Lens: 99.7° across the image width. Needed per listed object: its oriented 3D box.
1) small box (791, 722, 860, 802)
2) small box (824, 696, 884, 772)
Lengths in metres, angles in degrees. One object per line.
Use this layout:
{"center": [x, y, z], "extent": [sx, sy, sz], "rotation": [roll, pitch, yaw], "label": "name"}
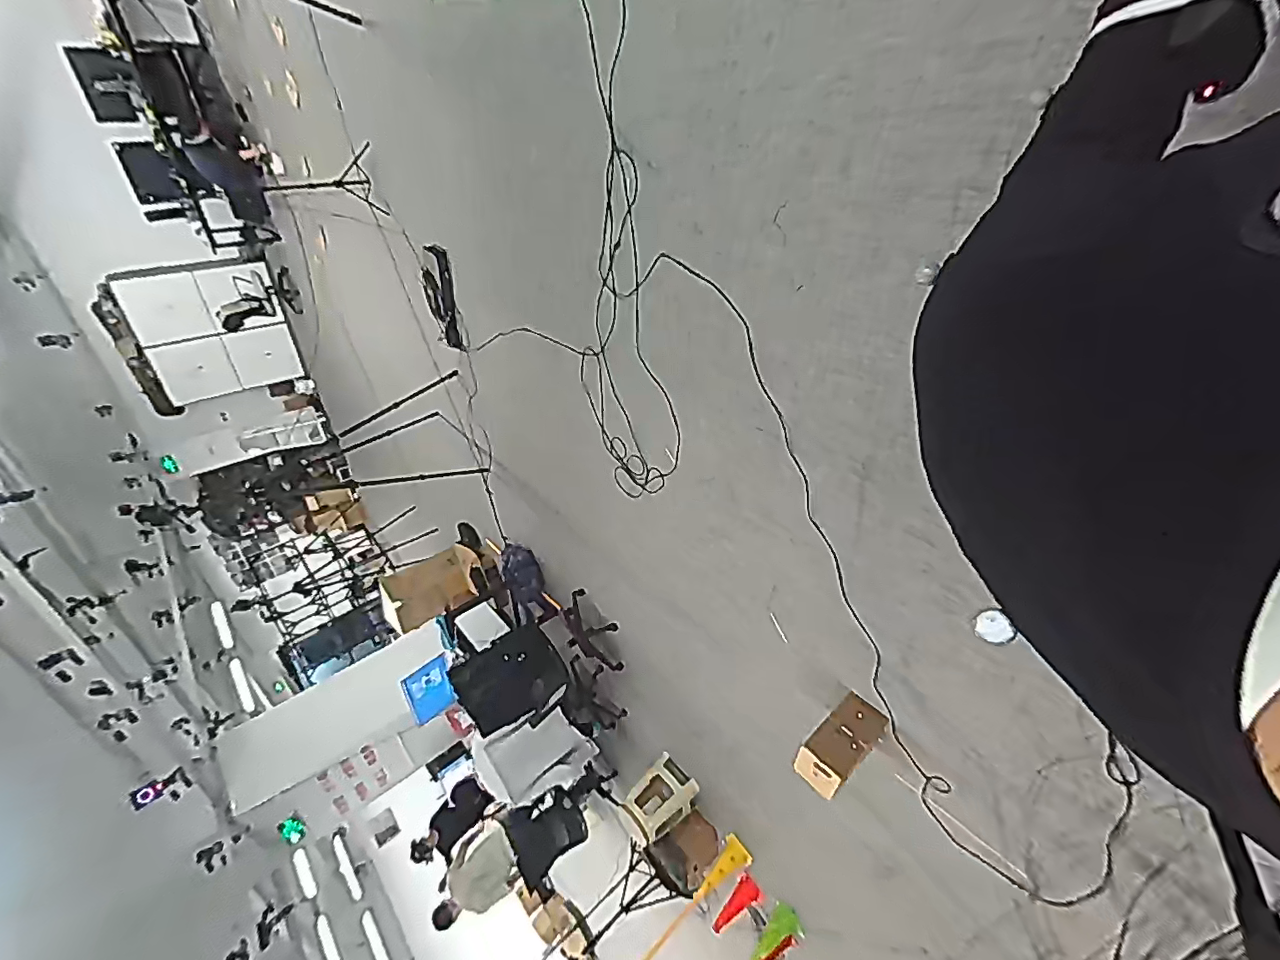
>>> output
{"center": [0.700, 1.051, 2.029], "extent": [0.168, 0.176, 0.179], "rotation": [35, 138, 36], "label": "small box"}
{"center": [0.827, 0.988, 2.116], "extent": [0.168, 0.176, 0.179], "rotation": [34, 135, 40], "label": "small box"}
